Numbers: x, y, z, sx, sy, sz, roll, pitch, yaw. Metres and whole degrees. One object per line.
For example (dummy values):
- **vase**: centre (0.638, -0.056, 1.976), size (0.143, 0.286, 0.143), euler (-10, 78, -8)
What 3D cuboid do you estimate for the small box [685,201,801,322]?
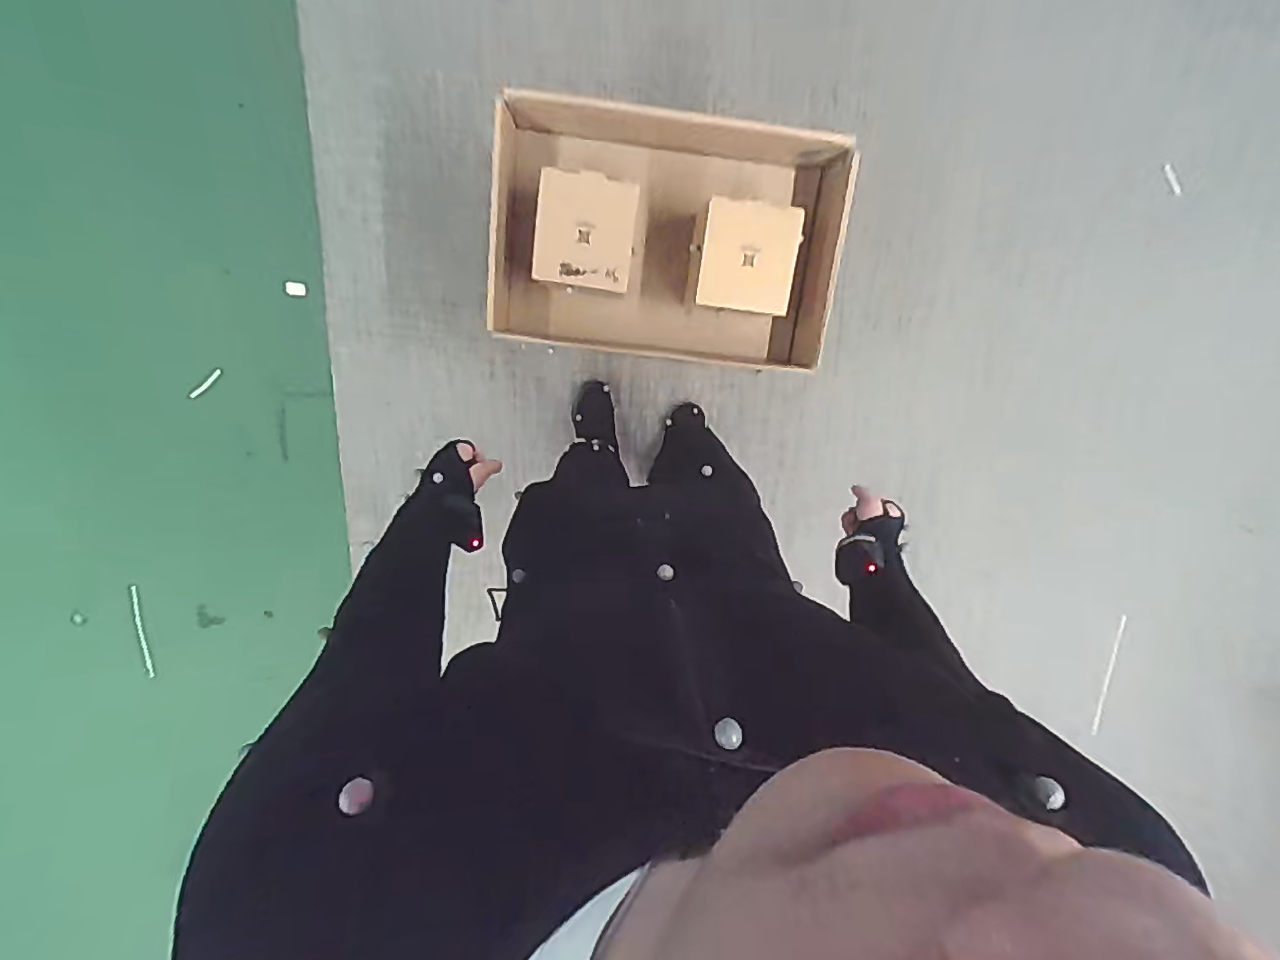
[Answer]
- **small box**: centre (0.181, -0.396, 1.008), size (0.168, 0.176, 0.179), euler (6, 104, -4)

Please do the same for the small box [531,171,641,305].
- **small box**: centre (-0.095, -0.429, 0.984), size (0.168, 0.176, 0.179), euler (9, 103, -4)
